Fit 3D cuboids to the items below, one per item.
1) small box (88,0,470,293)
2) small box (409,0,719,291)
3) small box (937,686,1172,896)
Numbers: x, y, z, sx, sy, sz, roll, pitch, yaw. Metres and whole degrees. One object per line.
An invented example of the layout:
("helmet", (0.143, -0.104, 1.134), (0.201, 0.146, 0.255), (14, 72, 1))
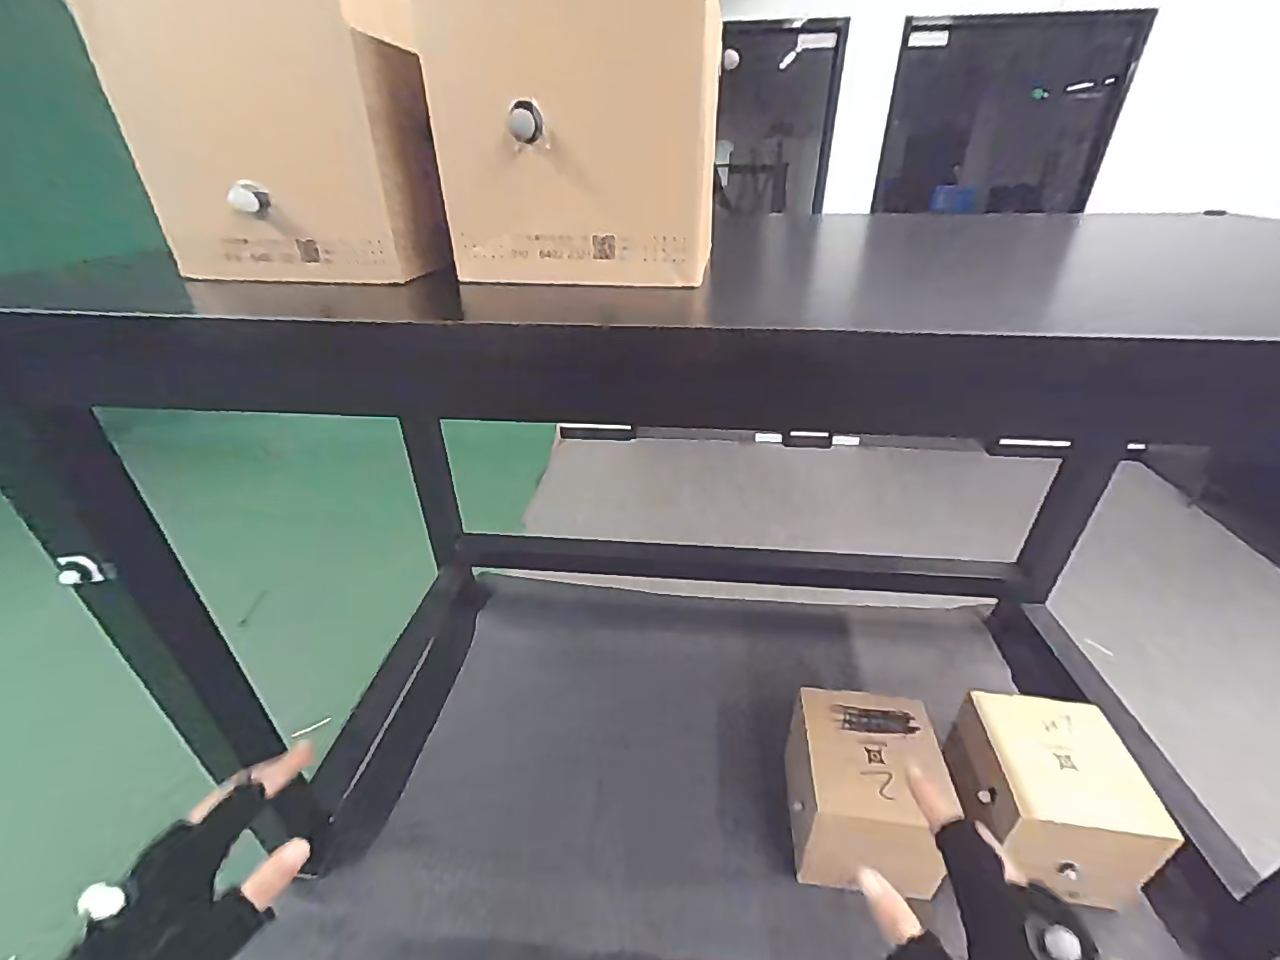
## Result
("small box", (-0.227, -0.248, 0.405), (0.168, 0.176, 0.179), (4, 32, 6))
("small box", (-0.031, -0.239, 0.391), (0.168, 0.176, 0.179), (4, 31, 7))
("small box", (0.522, 0.407, 0.716), (0.168, 0.176, 0.179), (4, 31, 8))
